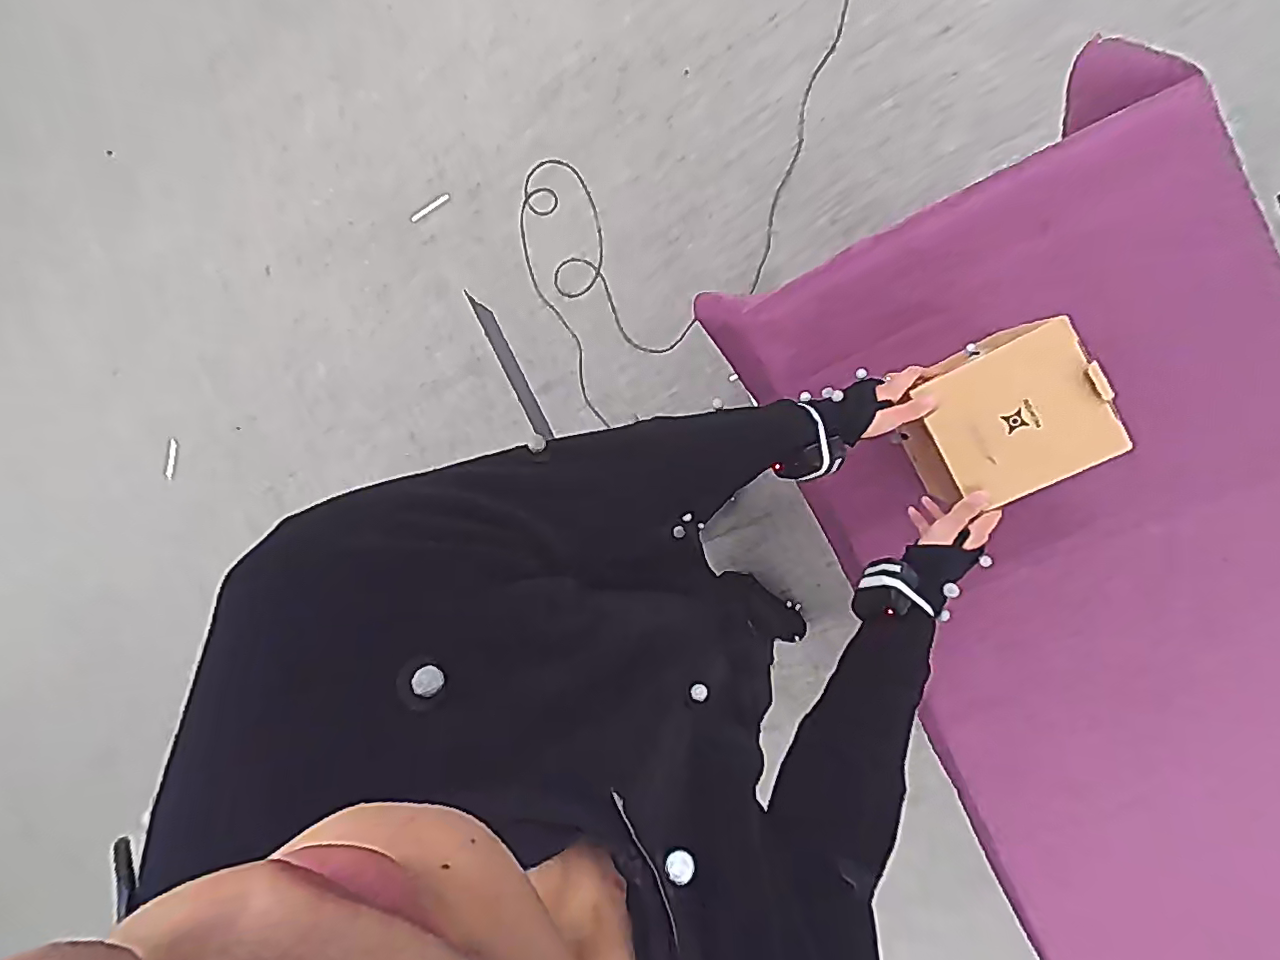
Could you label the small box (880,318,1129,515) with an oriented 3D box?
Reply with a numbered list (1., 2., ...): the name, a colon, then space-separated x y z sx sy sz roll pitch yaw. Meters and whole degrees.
1. small box: 0.432 -0.079 0.675 0.179 0.176 0.168 -27 92 14
